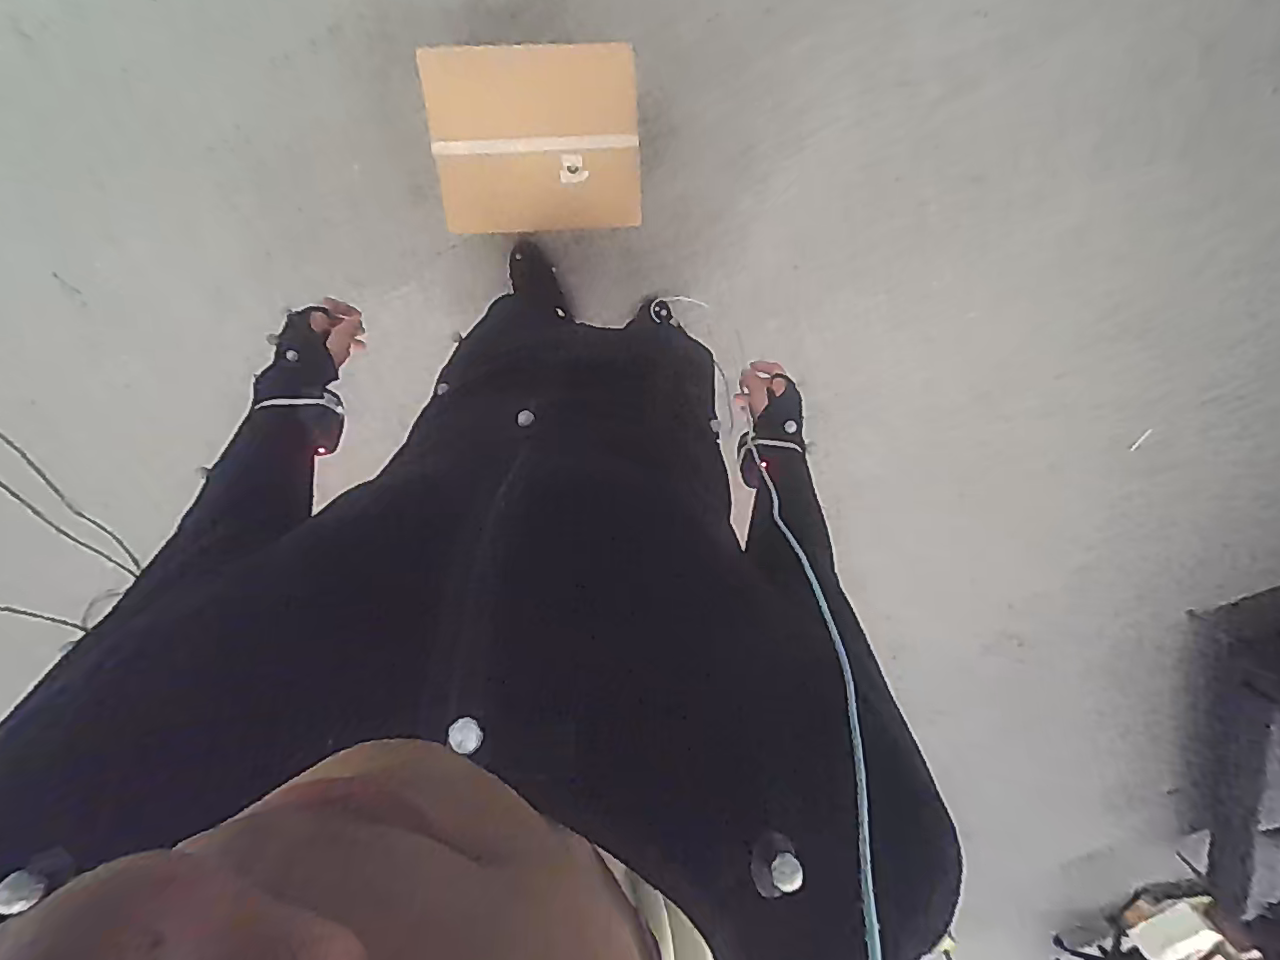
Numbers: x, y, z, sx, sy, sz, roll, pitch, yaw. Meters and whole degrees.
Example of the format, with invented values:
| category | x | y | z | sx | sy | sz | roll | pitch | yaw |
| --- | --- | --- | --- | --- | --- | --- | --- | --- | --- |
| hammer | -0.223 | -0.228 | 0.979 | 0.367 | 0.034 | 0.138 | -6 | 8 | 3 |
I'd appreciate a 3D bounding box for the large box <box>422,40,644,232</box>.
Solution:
| category | x | y | z | sx | sy | sz | roll | pitch | yaw |
| --- | --- | --- | --- | --- | --- | --- | --- | --- | --- |
| large box | -0.213 | -0.734 | 1.197 | 0.408 | 0.320 | 0.320 | -5 | 117 | -5 |
